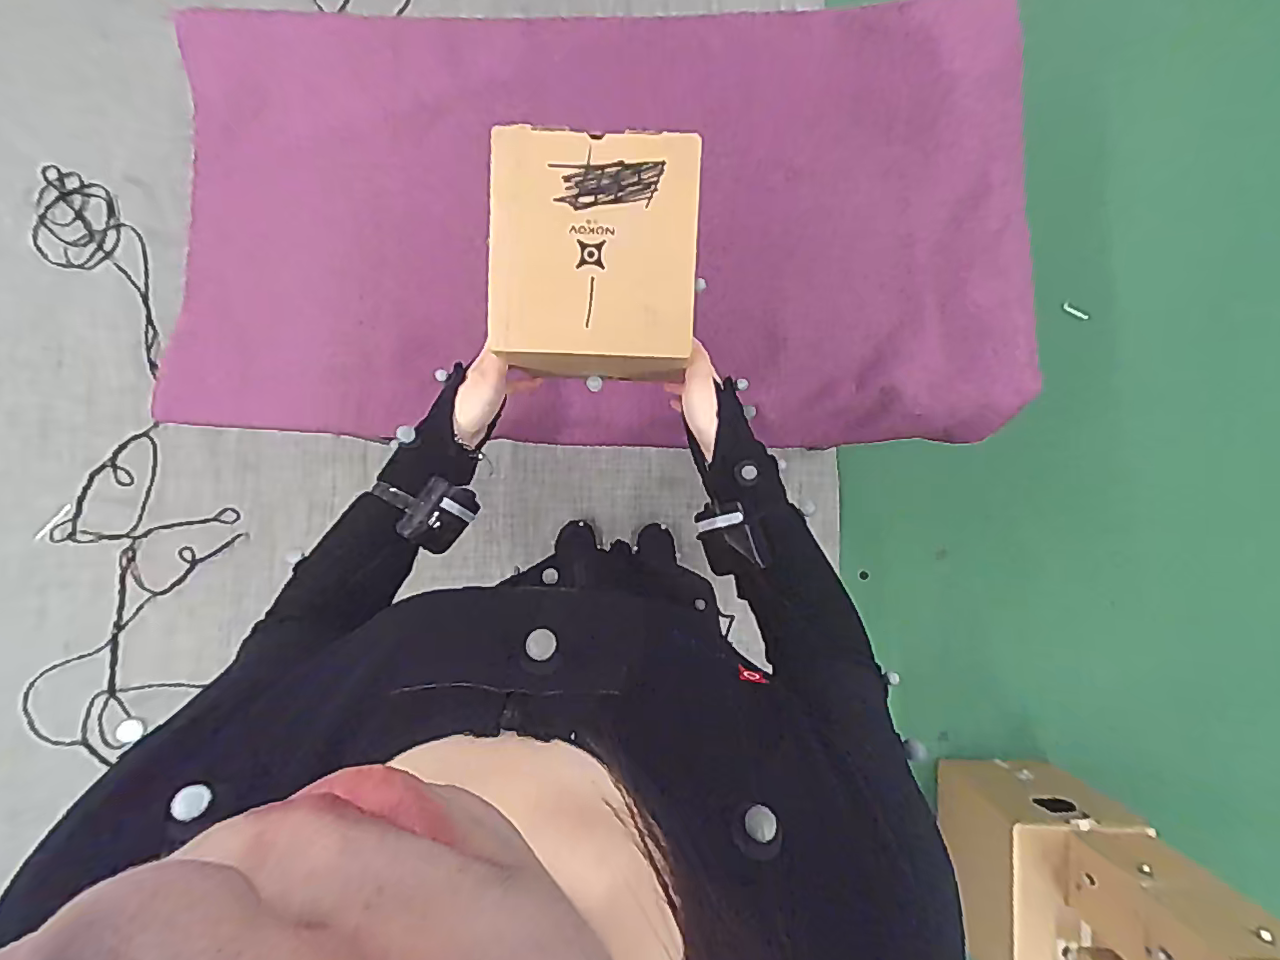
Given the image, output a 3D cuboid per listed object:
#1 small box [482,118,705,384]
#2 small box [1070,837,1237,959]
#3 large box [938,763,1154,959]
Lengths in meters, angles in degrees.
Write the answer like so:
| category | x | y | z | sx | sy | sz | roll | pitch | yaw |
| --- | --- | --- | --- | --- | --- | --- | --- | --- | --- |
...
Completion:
| category | x | y | z | sx | sy | sz | roll | pitch | yaw |
| --- | --- | --- | --- | --- | --- | --- | --- | --- | --- |
| small box | -0.036 | -0.188 | 0.492 | 0.168 | 0.176 | 0.179 | 2 | 94 | 1 |
| small box | 1.005 | 0.841 | 1.070 | 0.179 | 0.176 | 0.168 | 2 | 88 | 0 |
| large box | 0.953 | 0.957 | 1.307 | 0.320 | 0.320 | 0.408 | 2 | 88 | 1 |
